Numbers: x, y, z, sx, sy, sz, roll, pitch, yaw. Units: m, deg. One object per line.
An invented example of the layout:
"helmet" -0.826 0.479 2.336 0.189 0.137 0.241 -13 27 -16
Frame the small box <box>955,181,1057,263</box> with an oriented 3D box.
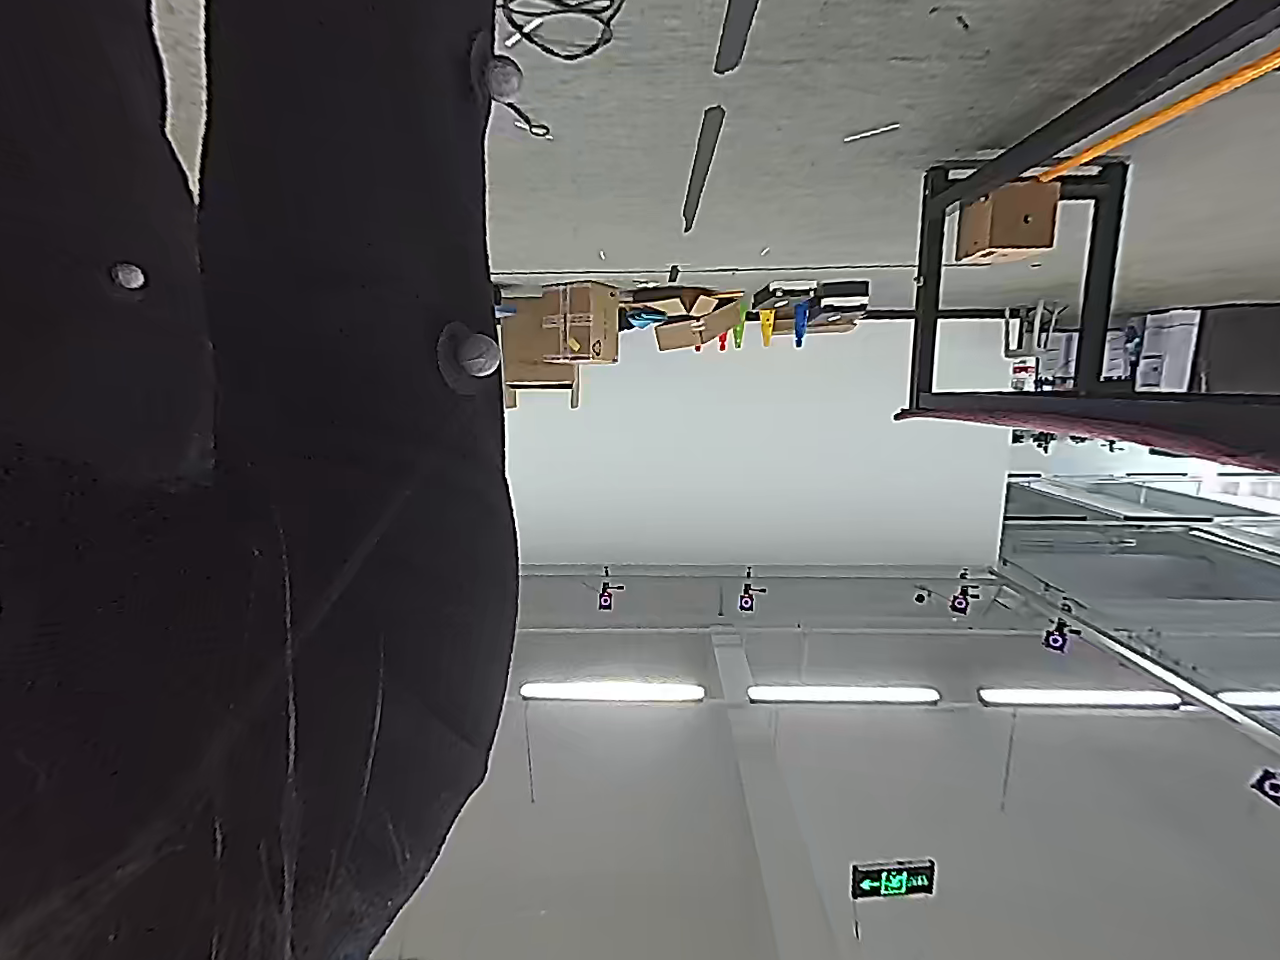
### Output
"small box" 1.019 -0.717 1.512 0.179 0.176 0.168 -1 -171 1
